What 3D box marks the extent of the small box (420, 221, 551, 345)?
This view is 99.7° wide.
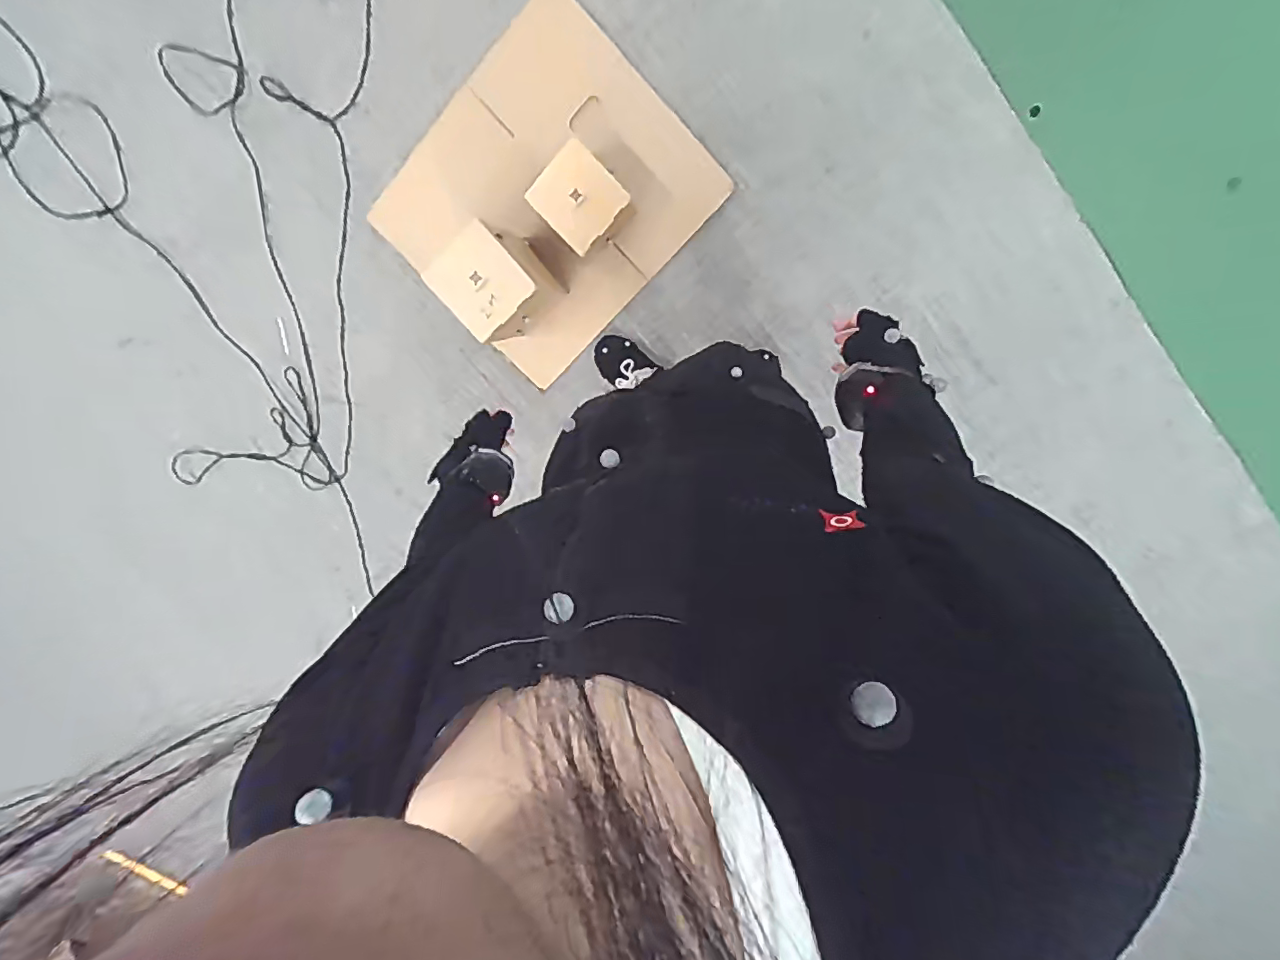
[{"bbox_3d":[-0.315,-0.404,1.137,0.168,0.176,0.179,-40,101,14],"label":"small box"}]

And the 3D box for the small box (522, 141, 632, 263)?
[{"bbox_3d":[-0.135,-0.620,1.237,0.179,0.176,0.168,43,104,-10],"label":"small box"}]
